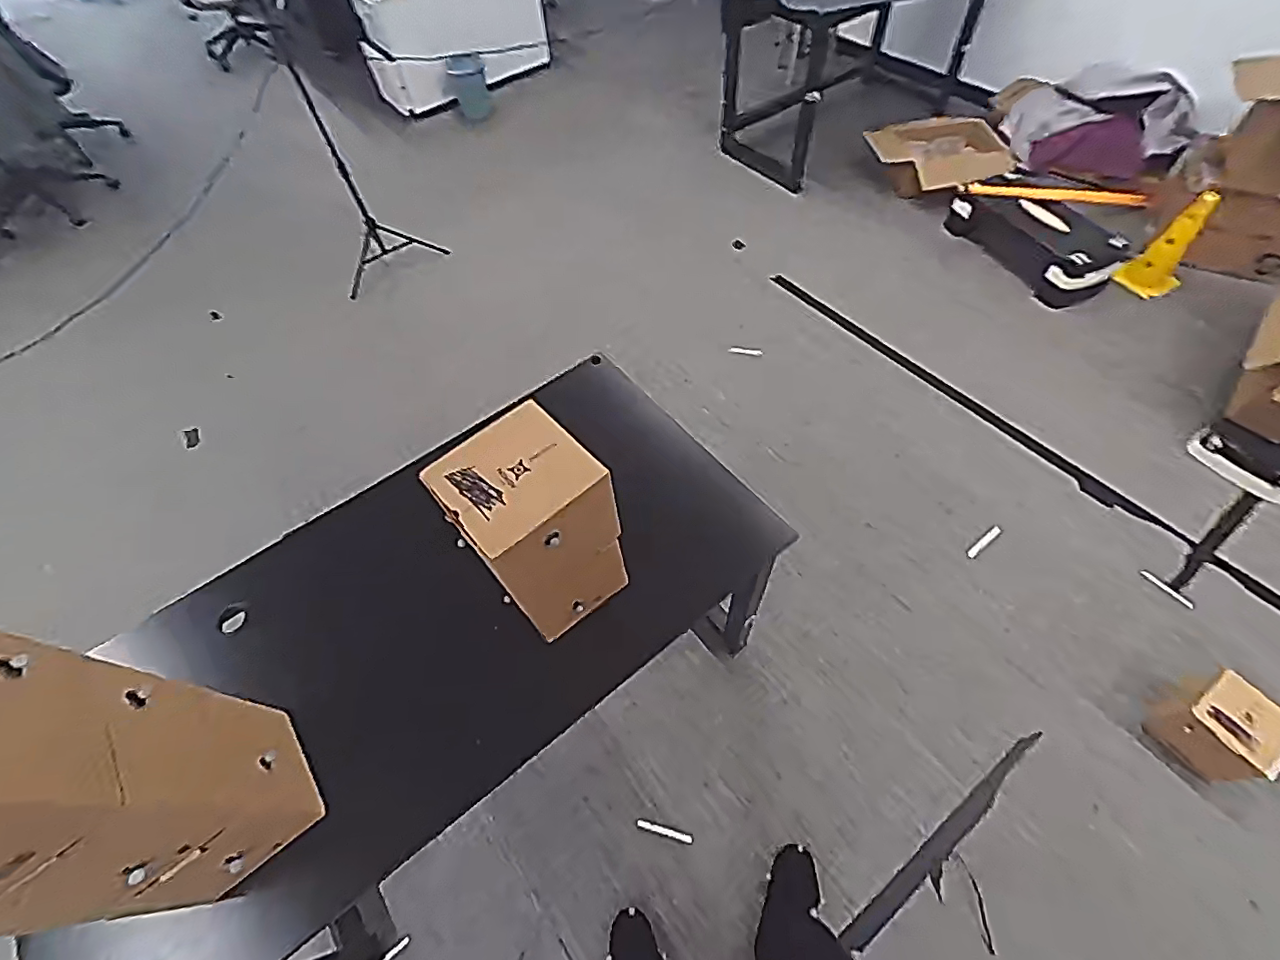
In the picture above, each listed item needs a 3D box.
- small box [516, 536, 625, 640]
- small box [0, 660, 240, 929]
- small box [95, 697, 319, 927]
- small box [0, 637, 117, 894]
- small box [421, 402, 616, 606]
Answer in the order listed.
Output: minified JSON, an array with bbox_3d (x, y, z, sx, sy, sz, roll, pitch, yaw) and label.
[{"bbox_3d":[-0.142,0.122,0.861,0.168,0.176,0.179,-35,62,-17],"label":"small box"},{"bbox_3d":[-0.572,0.327,0.564,0.168,0.176,0.179,-36,62,-17],"label":"small box"},{"bbox_3d":[-0.561,0.417,0.701,0.168,0.176,0.179,-36,62,-18],"label":"small box"},{"bbox_3d":[-0.581,0.239,0.427,0.168,0.176,0.179,-36,62,-17],"label":"small box"},{"bbox_3d":[-0.148,0.037,0.720,0.179,0.176,0.168,-38,63,-19],"label":"small box"}]
